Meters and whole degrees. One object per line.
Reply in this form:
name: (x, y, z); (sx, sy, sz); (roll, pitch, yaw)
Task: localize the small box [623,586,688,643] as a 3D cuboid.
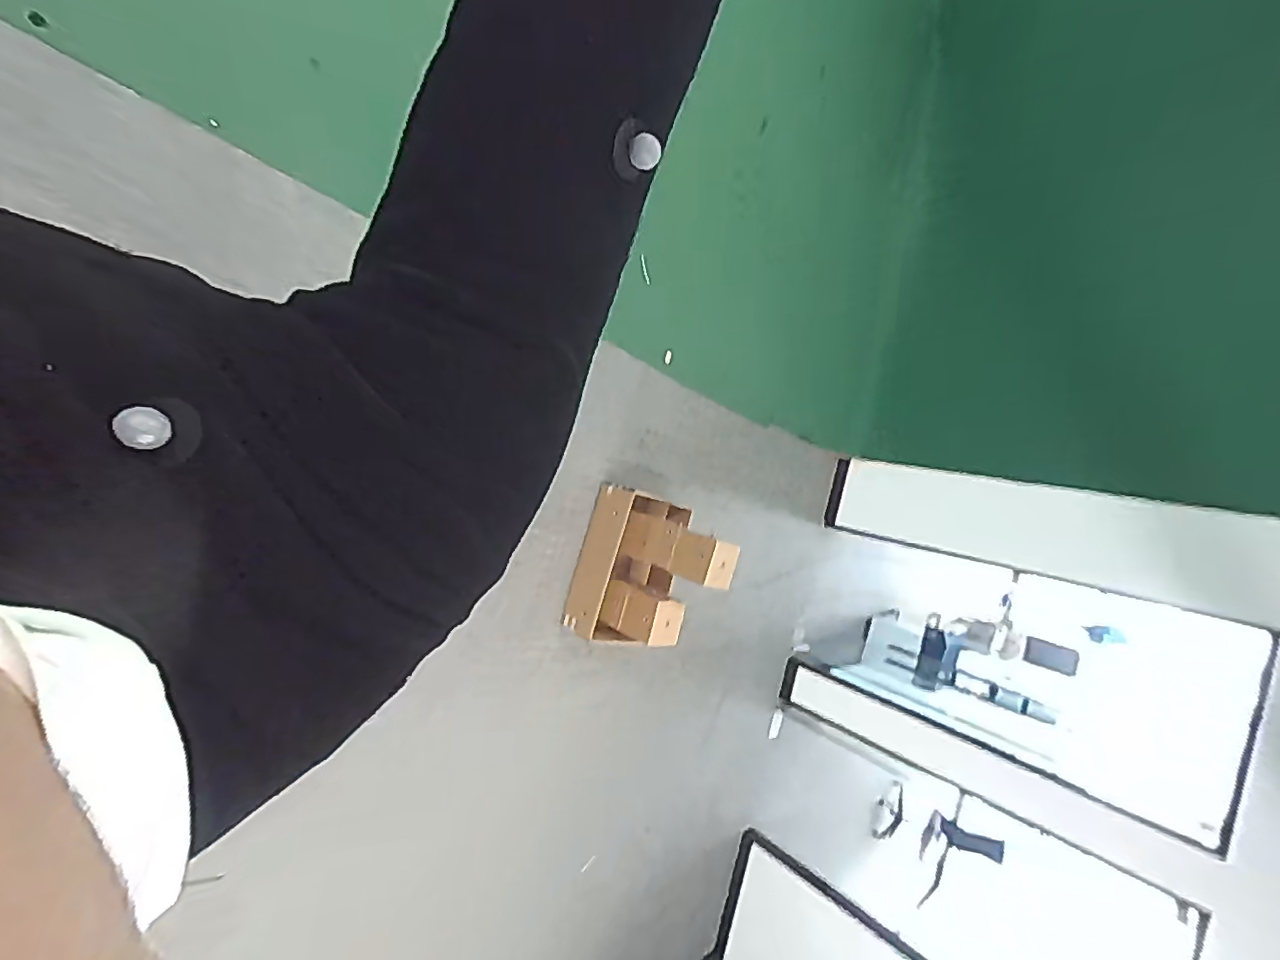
small box: (0.058, 0.523, 2.119); (0.168, 0.176, 0.179); (16, 88, -44)

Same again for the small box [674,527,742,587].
small box: (0.249, 0.284, 2.010); (0.168, 0.176, 0.179); (20, 87, -46)
